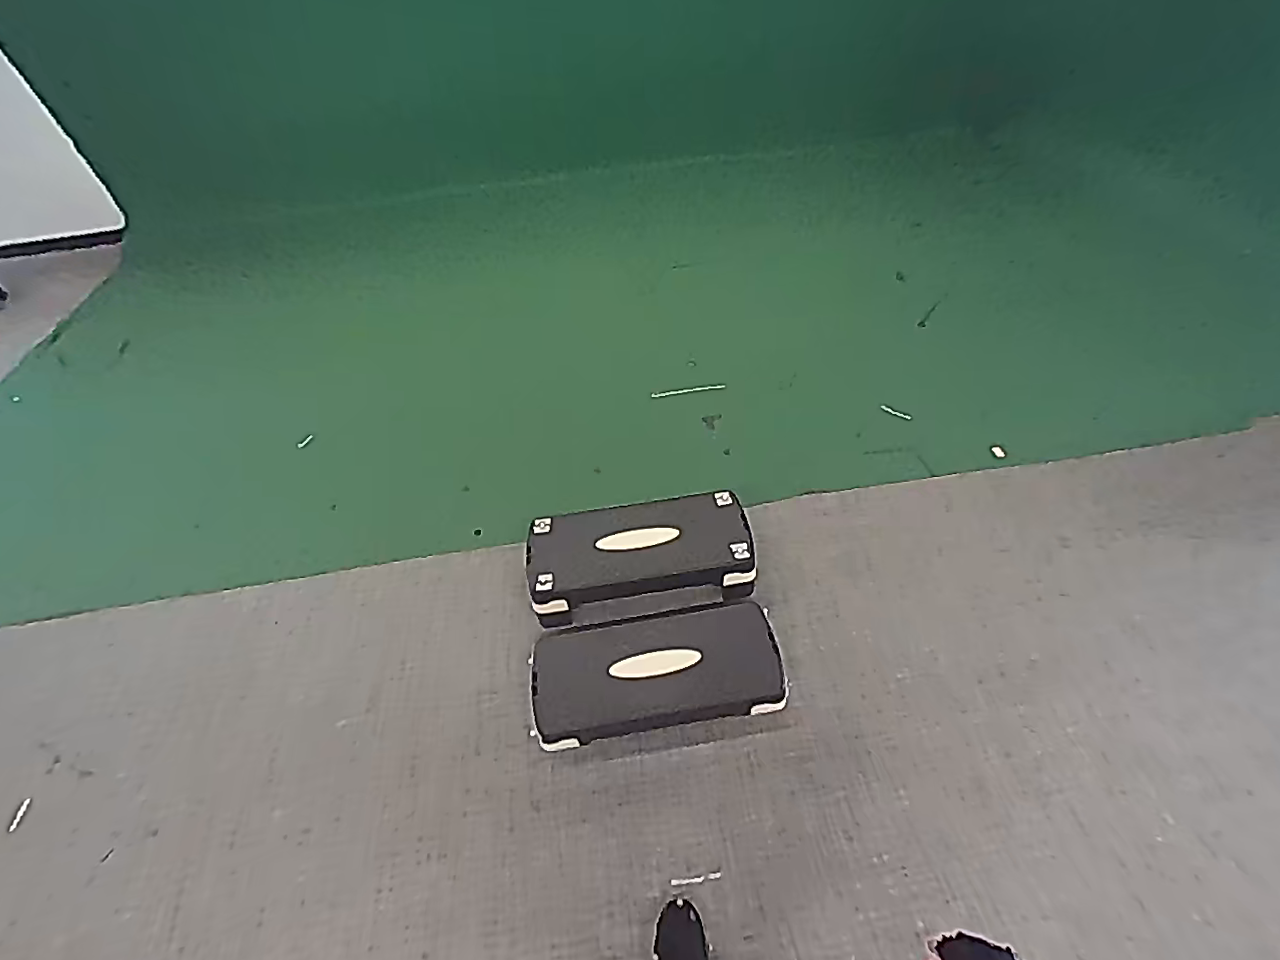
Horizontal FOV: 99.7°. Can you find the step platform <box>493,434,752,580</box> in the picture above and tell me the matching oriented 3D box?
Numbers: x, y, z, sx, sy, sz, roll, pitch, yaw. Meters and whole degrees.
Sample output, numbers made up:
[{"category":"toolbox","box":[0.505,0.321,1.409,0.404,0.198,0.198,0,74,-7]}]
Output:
[{"category":"step platform","box":[-0.047,0.074,1.513,0.684,0.204,0.286,-9,50,-2]}]
